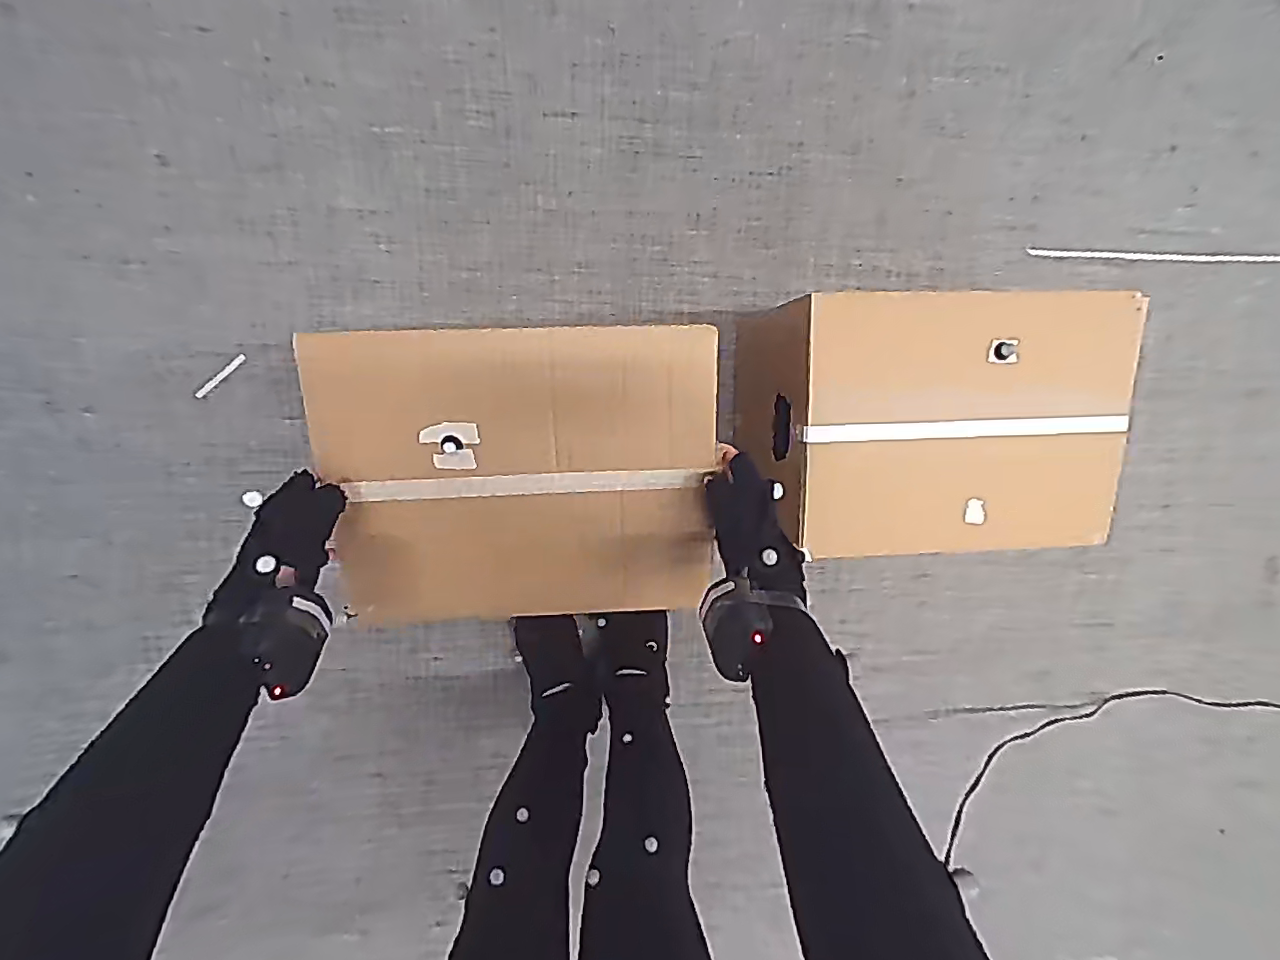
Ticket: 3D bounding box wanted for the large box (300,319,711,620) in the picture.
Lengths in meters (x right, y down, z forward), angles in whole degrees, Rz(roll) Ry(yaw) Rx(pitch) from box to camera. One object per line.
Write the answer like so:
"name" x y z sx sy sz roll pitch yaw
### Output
"large box" -0.128 -0.042 0.705 0.408 0.320 0.320 -2 106 -2
